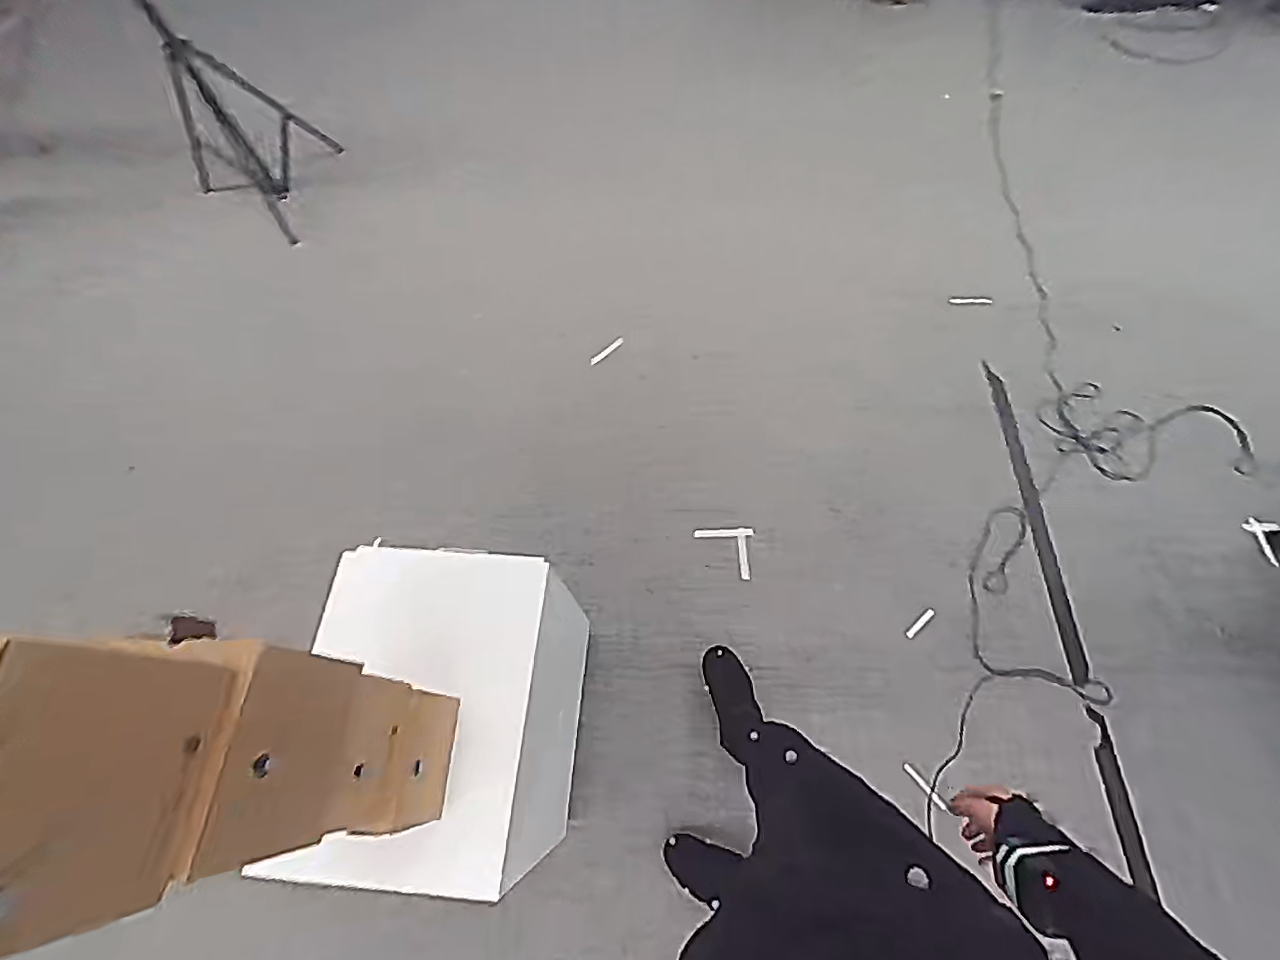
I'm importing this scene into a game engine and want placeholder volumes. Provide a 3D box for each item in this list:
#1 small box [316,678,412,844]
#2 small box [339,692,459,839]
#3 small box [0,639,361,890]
[{"bbox_3d":[-0.405,0.328,0.657,0.179,0.176,0.168,0,64,4],"label":"small box"},{"bbox_3d":[-0.384,0.410,0.796,0.168,0.176,0.179,0,63,3],"label":"small box"},{"bbox_3d":[-0.396,0.255,0.509,0.168,0.176,0.179,1,64,4],"label":"small box"}]
